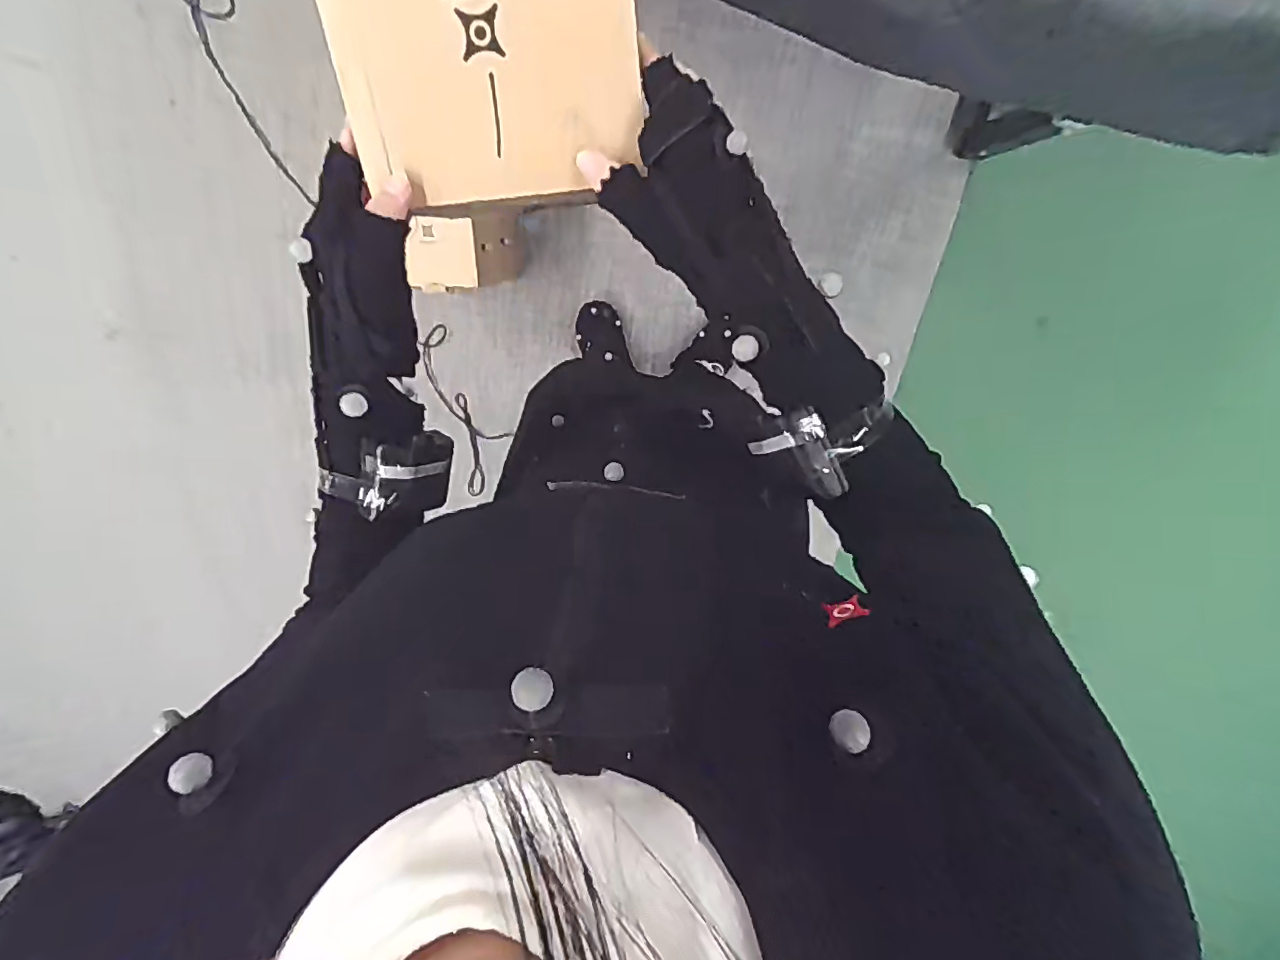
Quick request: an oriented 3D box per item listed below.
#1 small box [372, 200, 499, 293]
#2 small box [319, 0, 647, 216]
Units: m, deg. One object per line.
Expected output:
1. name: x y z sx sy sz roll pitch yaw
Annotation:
1. small box: -0.381 -0.458 1.038 0.168 0.176 0.179 -1 111 3
2. small box: -0.086 -0.276 0.353 0.168 0.176 0.179 -5 116 0
